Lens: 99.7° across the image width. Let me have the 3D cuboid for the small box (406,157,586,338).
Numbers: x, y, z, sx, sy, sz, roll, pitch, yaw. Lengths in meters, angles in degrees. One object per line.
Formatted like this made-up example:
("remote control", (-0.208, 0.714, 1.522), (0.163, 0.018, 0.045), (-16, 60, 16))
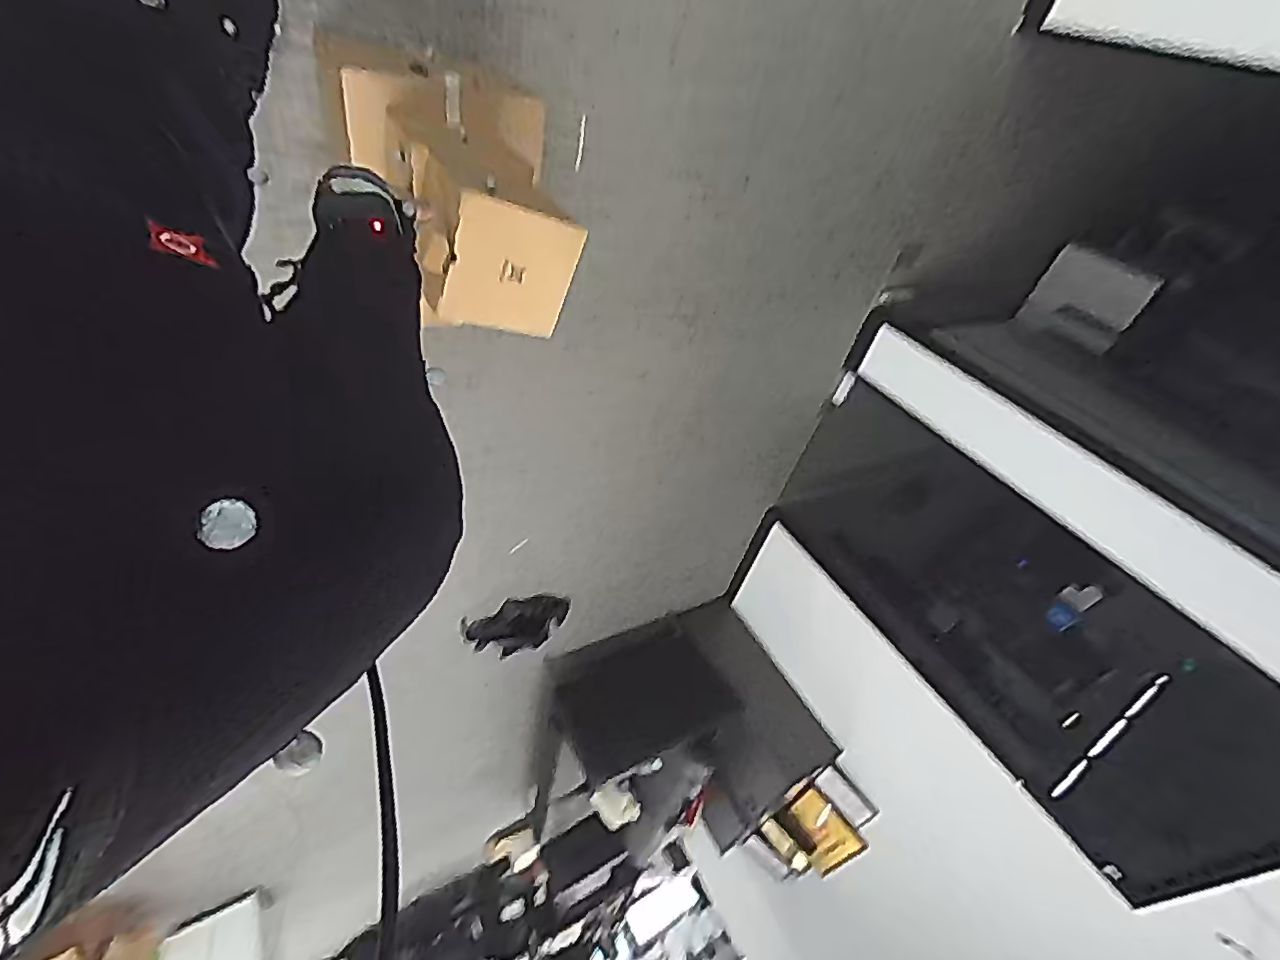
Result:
("small box", (-0.212, -0.328, 0.773), (0.179, 0.176, 0.168), (-1, 132, -40))

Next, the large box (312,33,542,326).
("large box", (-0.406, -0.563, 1.048), (0.320, 0.320, 0.408), (-12, 139, -29))
